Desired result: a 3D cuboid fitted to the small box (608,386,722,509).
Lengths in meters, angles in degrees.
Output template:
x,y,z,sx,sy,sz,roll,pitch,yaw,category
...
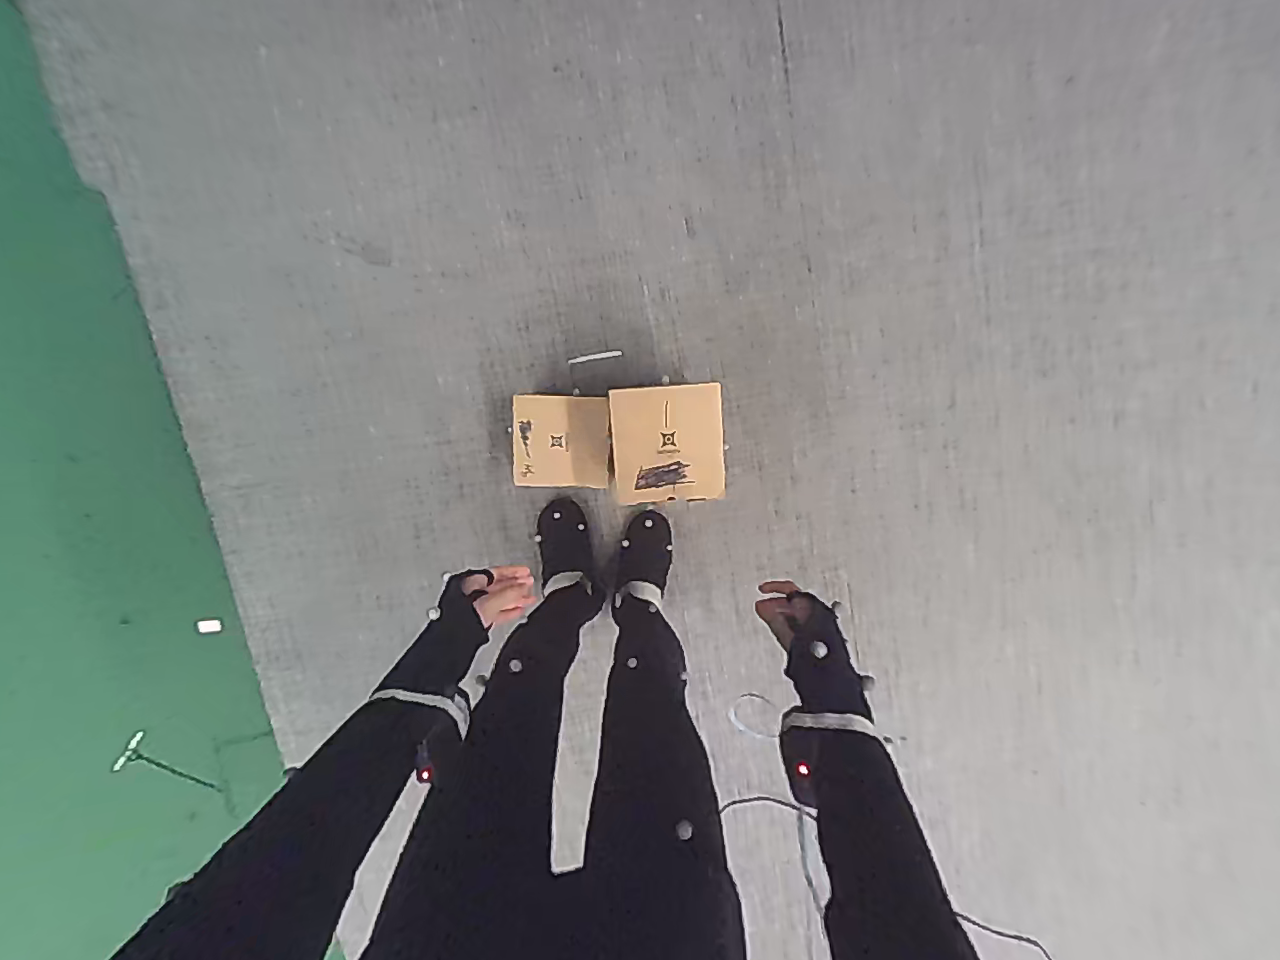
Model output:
x,y,z,sx,sy,sz,roll,pitch,yaw,category
0.040,-0.060,0.876,0.168,0.176,0.179,-4,100,1,small box
